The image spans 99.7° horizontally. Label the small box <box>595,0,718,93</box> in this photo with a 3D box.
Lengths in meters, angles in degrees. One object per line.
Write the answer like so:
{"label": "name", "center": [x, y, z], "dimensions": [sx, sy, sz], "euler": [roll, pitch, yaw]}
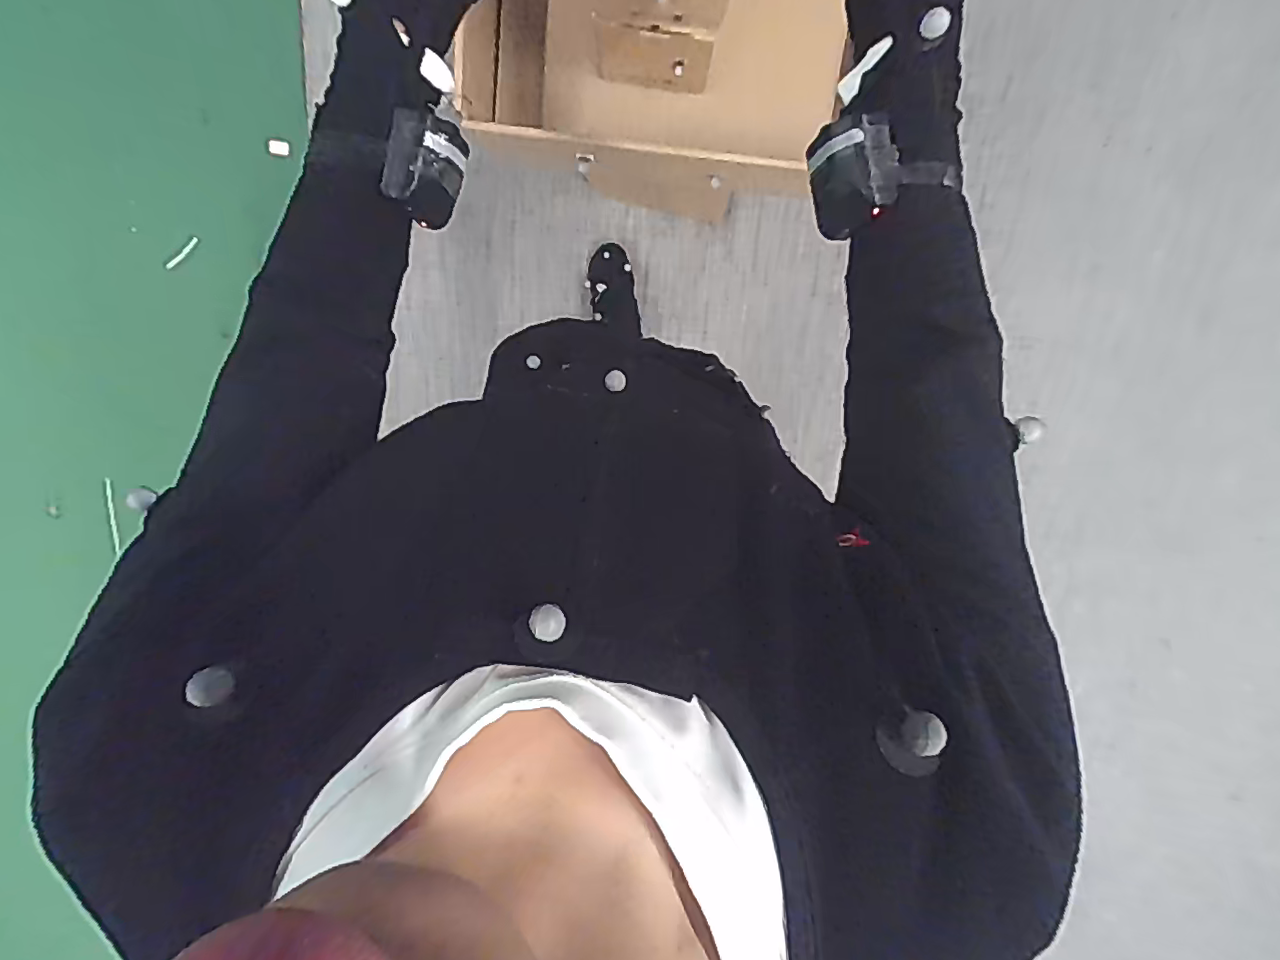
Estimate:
{"label": "small box", "center": [0.032, -0.688, 0.767], "dimensions": [0.168, 0.176, 0.179], "euler": [6, 103, -2]}

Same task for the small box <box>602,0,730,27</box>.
{"label": "small box", "center": [0.035, -0.654, 0.607], "dimensions": [0.168, 0.176, 0.179], "euler": [4, 105, -1]}
